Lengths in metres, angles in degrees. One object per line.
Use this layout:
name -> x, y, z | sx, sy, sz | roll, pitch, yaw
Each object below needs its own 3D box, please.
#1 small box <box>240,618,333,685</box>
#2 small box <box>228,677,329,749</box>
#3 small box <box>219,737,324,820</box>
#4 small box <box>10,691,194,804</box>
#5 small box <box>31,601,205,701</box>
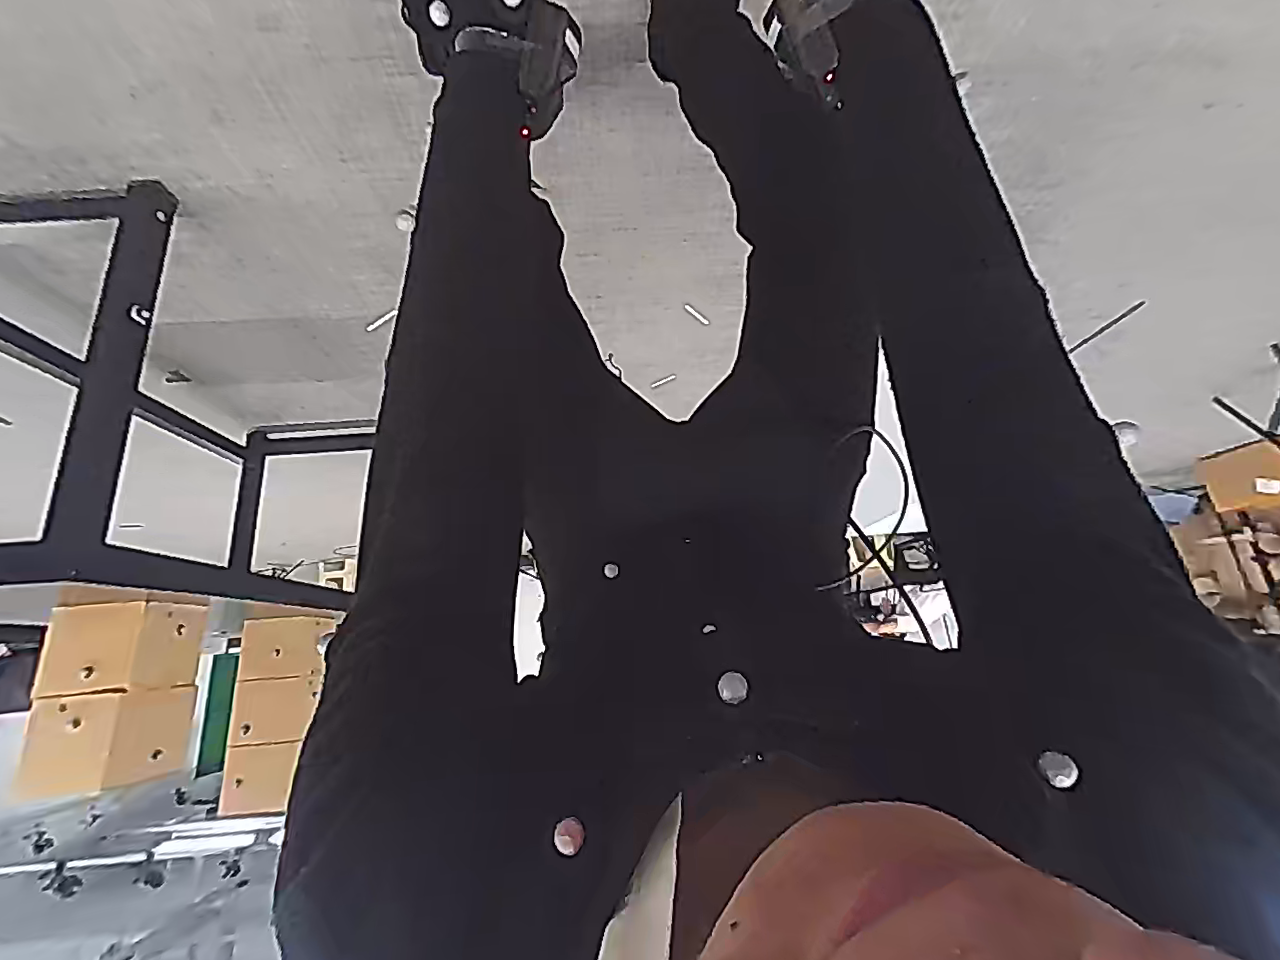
small box -> -1.027, 0.500, 1.588 | 0.179, 0.176, 0.168 | -4, 162, -1
small box -> -1.017, 0.657, 1.539 | 0.179, 0.176, 0.168 | -4, 163, -2
small box -> -1.005, 0.812, 1.489 | 0.179, 0.176, 0.168 | -4, 164, -2
small box -> -1.001, 0.495, 1.027 | 0.168, 0.176, 0.179 | -5, 162, 1
small box -> -1.019, 0.339, 1.076 | 0.179, 0.176, 0.168 | -4, 163, -2
